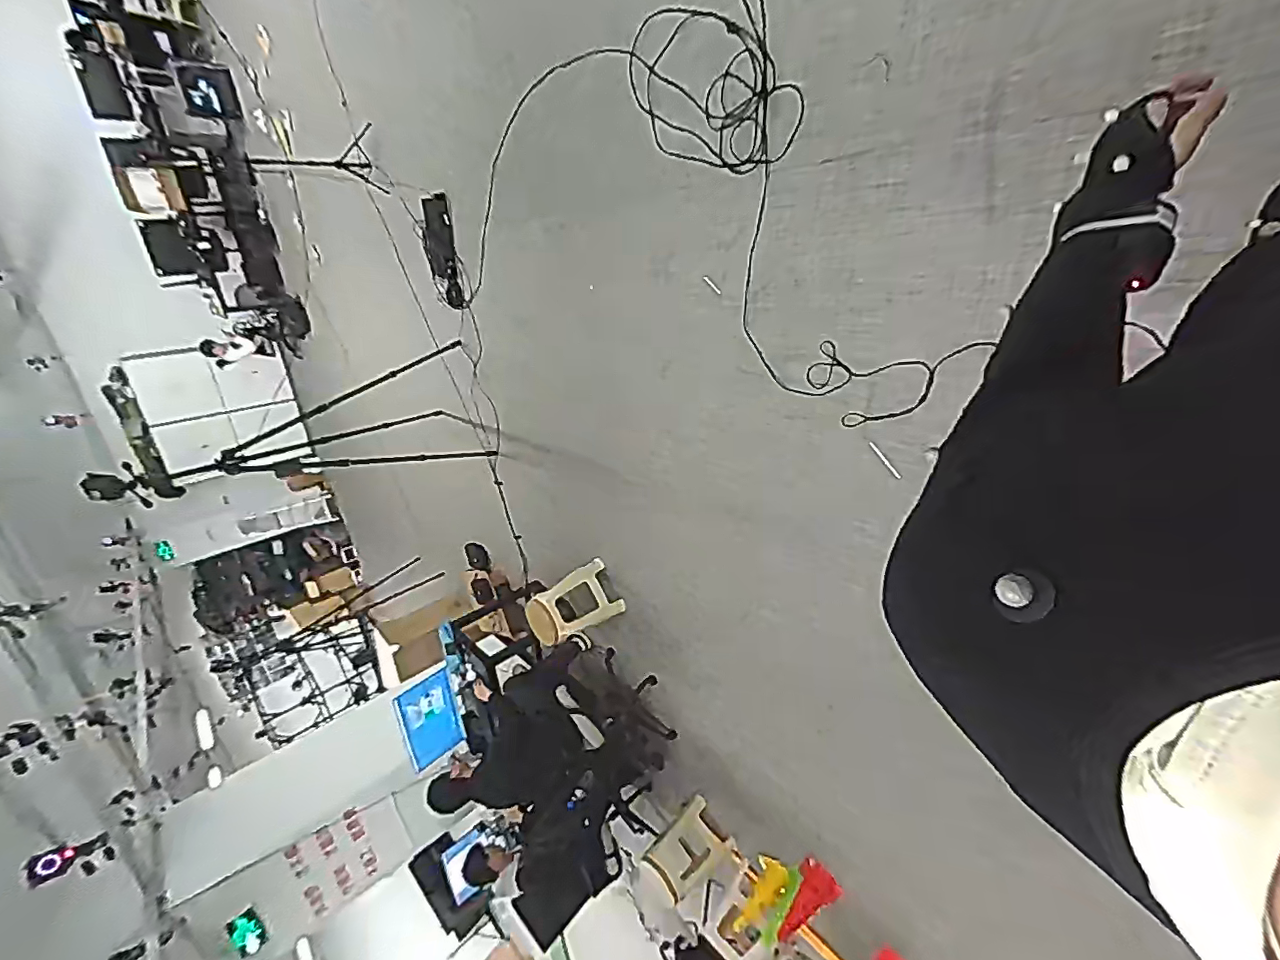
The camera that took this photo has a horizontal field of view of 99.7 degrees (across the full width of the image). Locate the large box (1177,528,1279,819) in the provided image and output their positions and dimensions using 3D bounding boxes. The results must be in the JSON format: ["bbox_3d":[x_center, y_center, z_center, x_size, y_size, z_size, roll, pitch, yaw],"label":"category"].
[{"bbox_3d":[1.202,0.352,0.909,0.320,0.320,0.408,25,127,40],"label":"large box"}]
